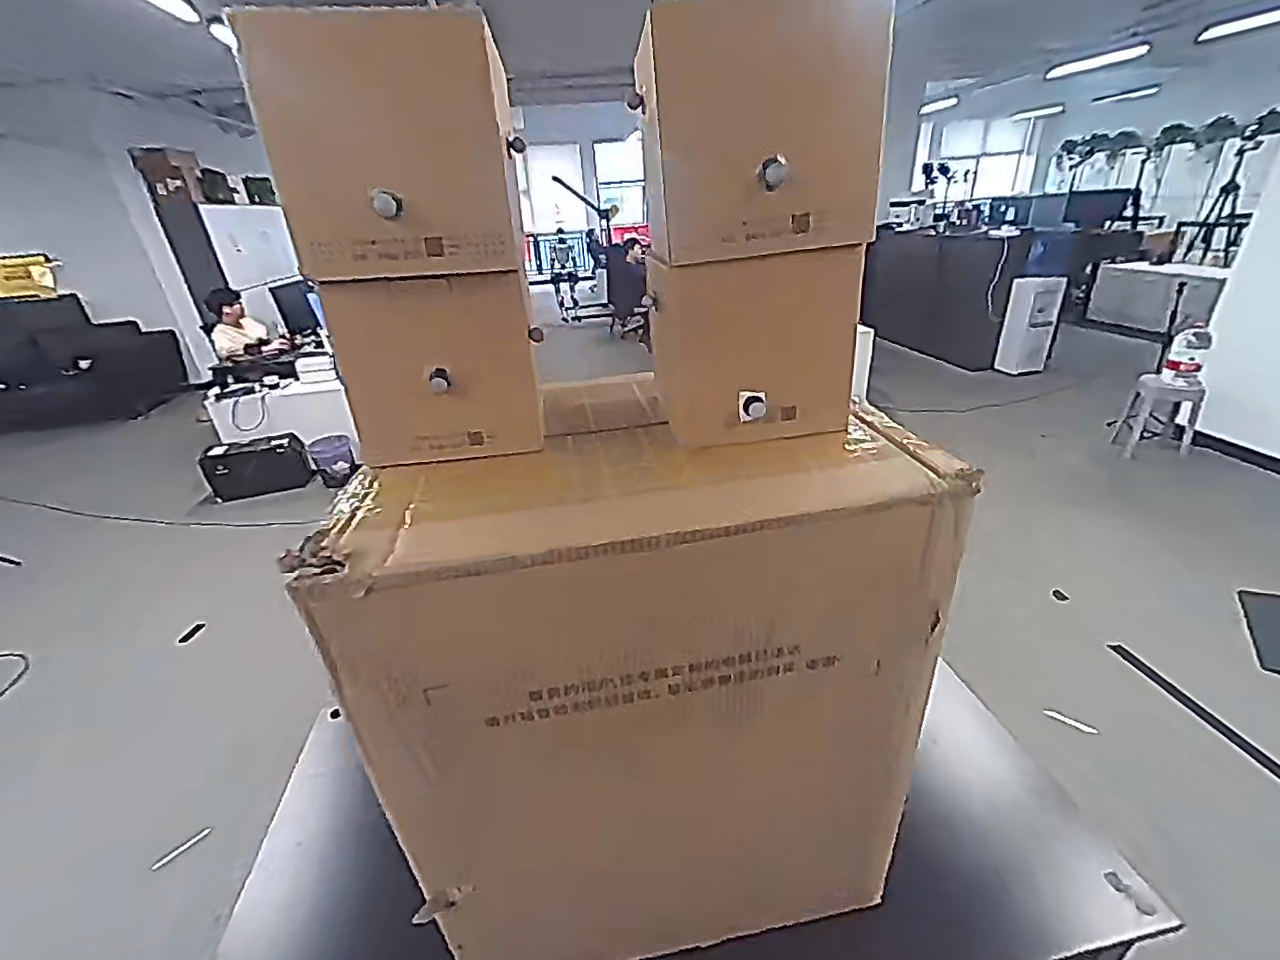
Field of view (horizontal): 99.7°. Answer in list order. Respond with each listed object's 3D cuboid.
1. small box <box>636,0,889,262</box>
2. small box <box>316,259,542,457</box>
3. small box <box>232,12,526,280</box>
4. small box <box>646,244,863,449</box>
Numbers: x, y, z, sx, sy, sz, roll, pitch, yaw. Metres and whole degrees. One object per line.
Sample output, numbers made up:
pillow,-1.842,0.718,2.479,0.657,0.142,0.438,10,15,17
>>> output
small box,0.089,-0.289,0.468,0.168,0.176,0.179,-7,27,-1
small box,-0.192,-0.129,0.556,0.168,0.176,0.179,-6,27,-8
small box,-0.194,-0.270,0.467,0.168,0.176,0.179,-6,27,-6
small box,0.102,-0.146,0.550,0.168,0.176,0.179,-9,28,-3
